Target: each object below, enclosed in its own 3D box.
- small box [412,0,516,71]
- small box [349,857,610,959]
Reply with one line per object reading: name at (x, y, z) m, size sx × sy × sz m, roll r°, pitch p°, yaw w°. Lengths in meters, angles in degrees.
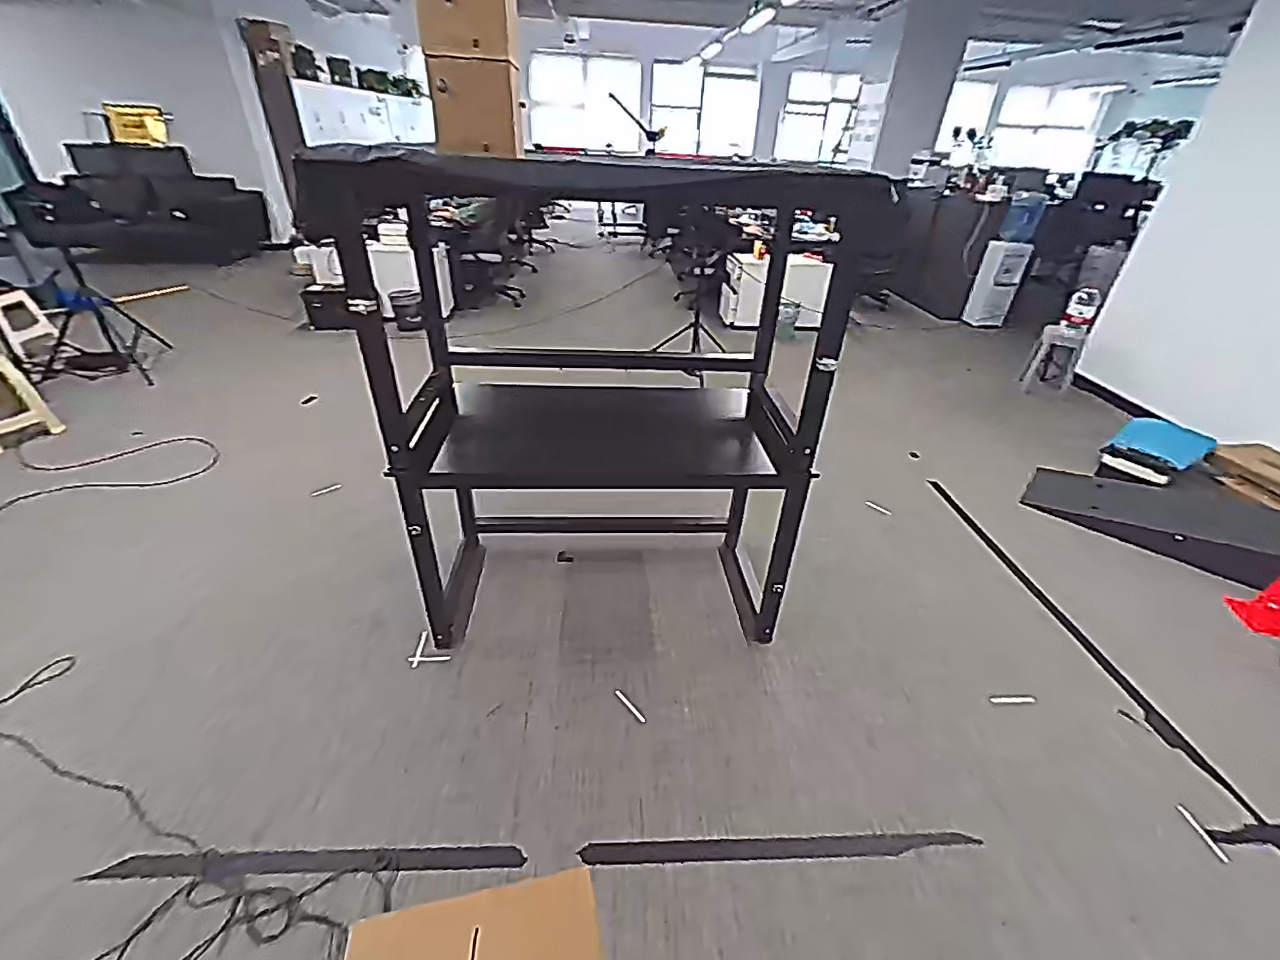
small box at (-0.340, -0.916, 1.060) m, size 0.168 × 0.176 × 0.179 m, roll 0°, pitch 31°, yaw -5°
small box at (-0.097, 0.398, 0.366) m, size 0.168 × 0.176 × 0.179 m, roll -7°, pitch 38°, yaw -9°
